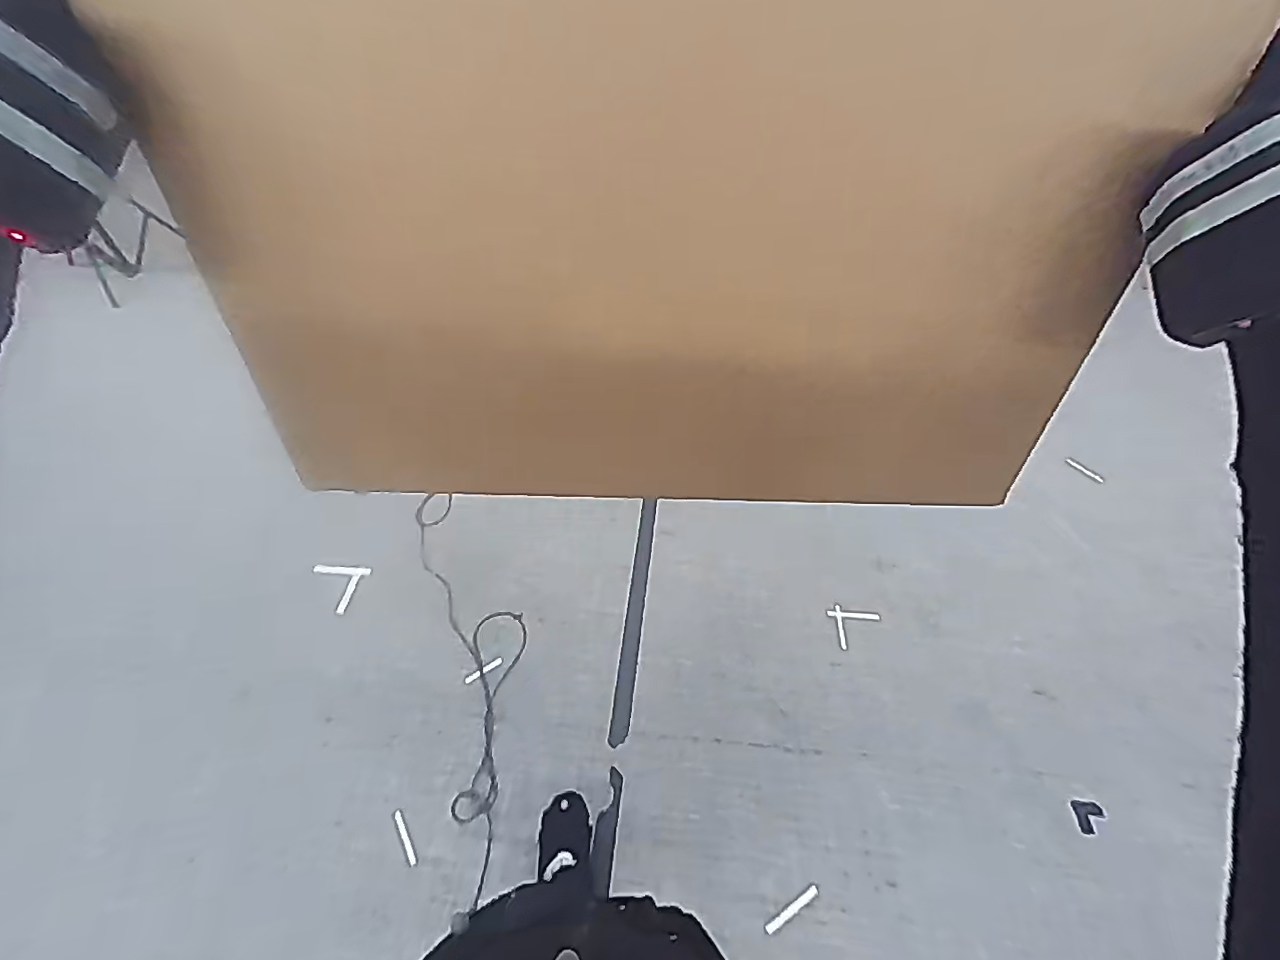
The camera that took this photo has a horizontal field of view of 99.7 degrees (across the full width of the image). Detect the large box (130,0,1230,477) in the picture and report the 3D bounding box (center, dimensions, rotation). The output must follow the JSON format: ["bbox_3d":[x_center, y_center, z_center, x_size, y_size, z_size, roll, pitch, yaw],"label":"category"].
[{"bbox_3d":[0.011,-0.213,0.344,0.408,0.320,0.320,2,39,-1],"label":"large box"}]
